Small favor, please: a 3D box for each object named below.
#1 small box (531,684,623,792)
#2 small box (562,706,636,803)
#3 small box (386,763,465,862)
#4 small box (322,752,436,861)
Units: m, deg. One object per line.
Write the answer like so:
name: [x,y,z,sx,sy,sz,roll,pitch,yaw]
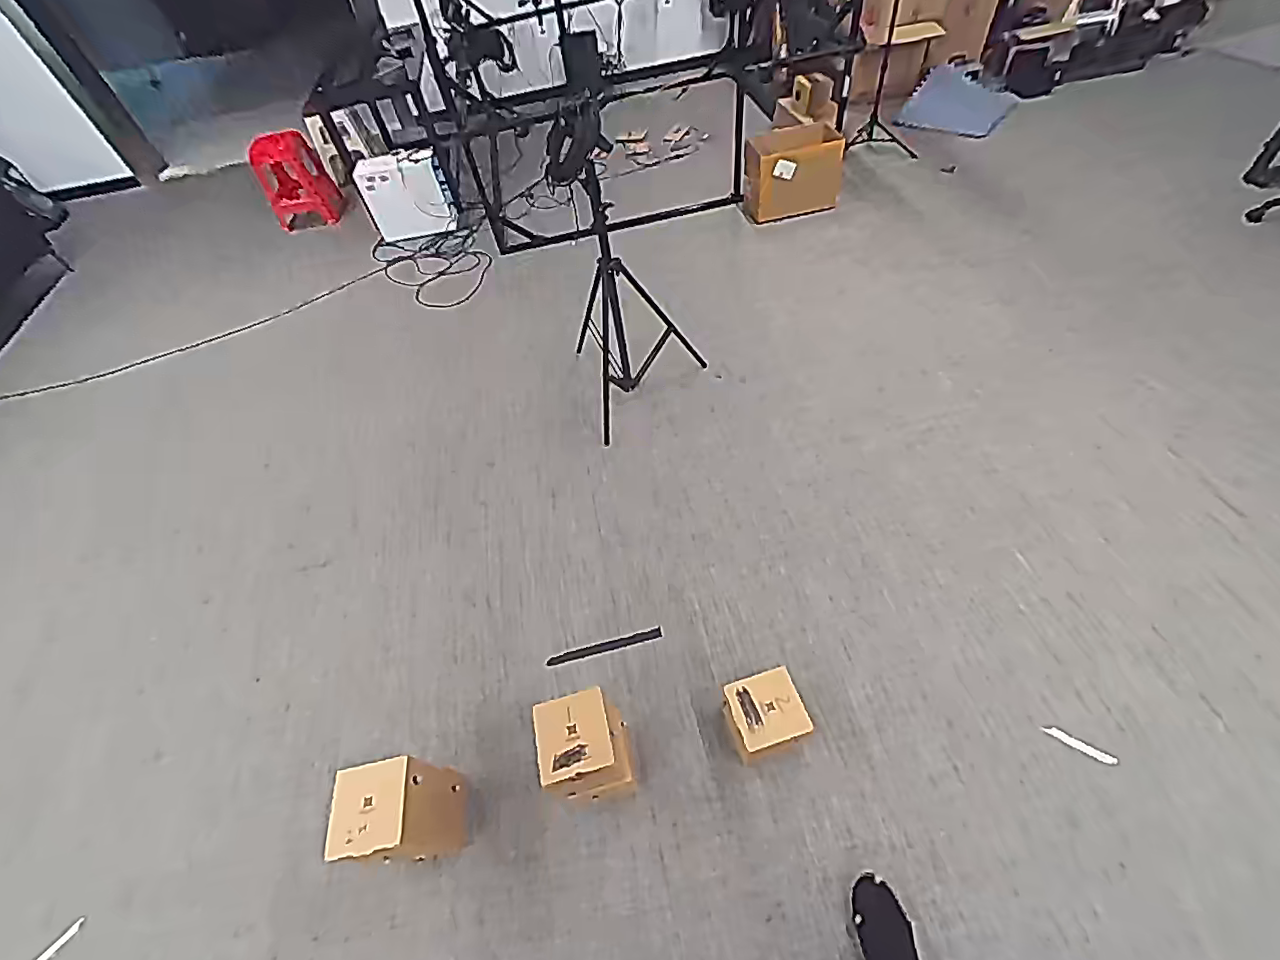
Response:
small box: [-0.145,0.609,1.262,0.168,0.176,0.179,-15,50,-3]
small box: [-0.113,0.711,1.388,0.168,0.176,0.179,-15,51,-3]
small box: [-0.551,0.836,1.356,0.168,0.176,0.179,-12,51,0]
small box: [-0.578,0.741,1.224,0.168,0.176,0.179,-13,52,0]
